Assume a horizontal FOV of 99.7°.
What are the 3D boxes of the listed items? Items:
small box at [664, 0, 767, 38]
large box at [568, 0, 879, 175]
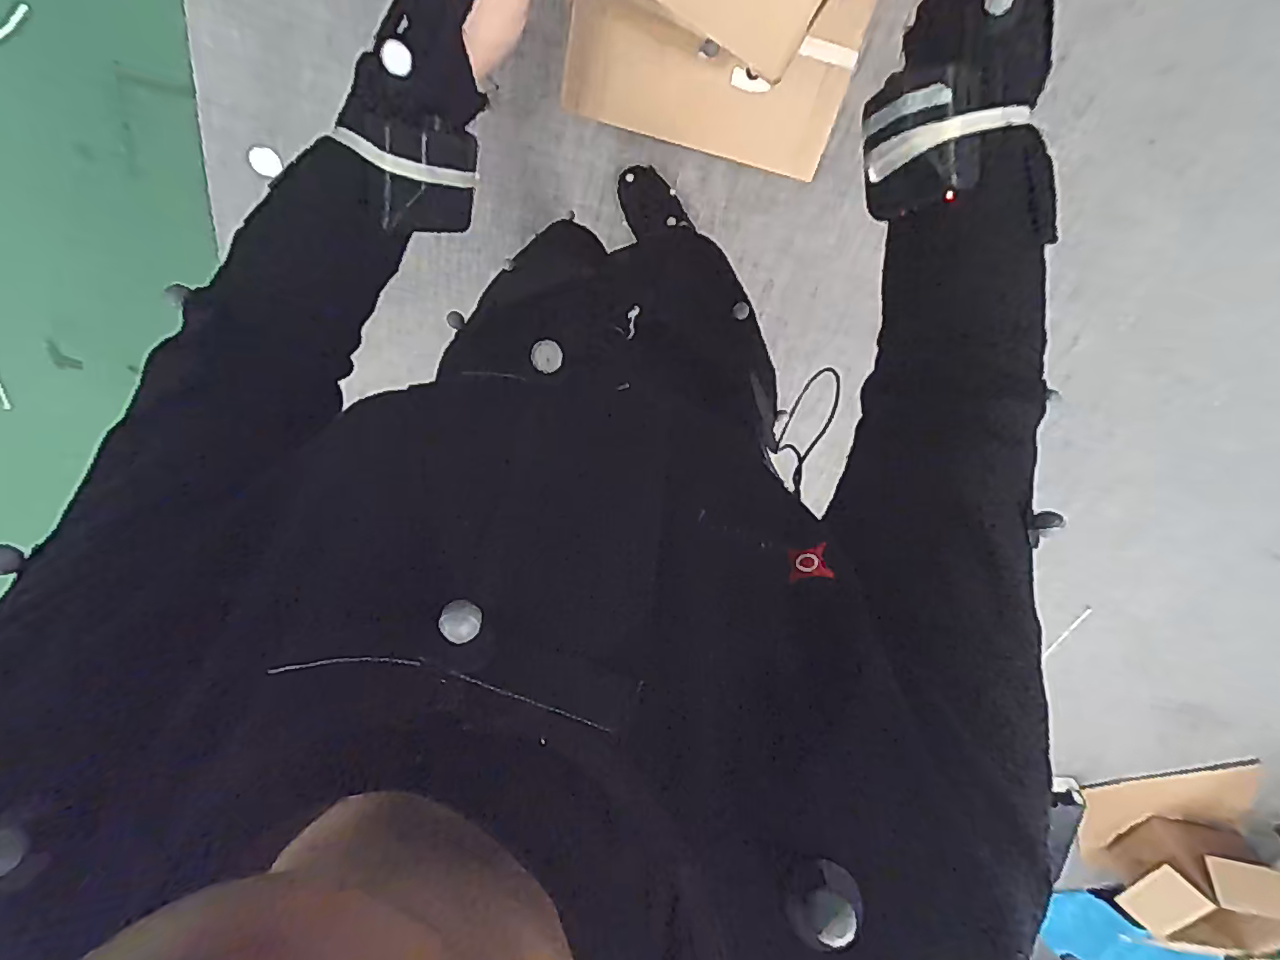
[{"bbox_3d":[0.068,-0.551,0.499,0.179,0.176,0.168,23,120,-11],"label":"small box"},{"bbox_3d":[0.121,-0.717,0.872,0.408,0.320,0.320,13,122,-5],"label":"large box"}]
